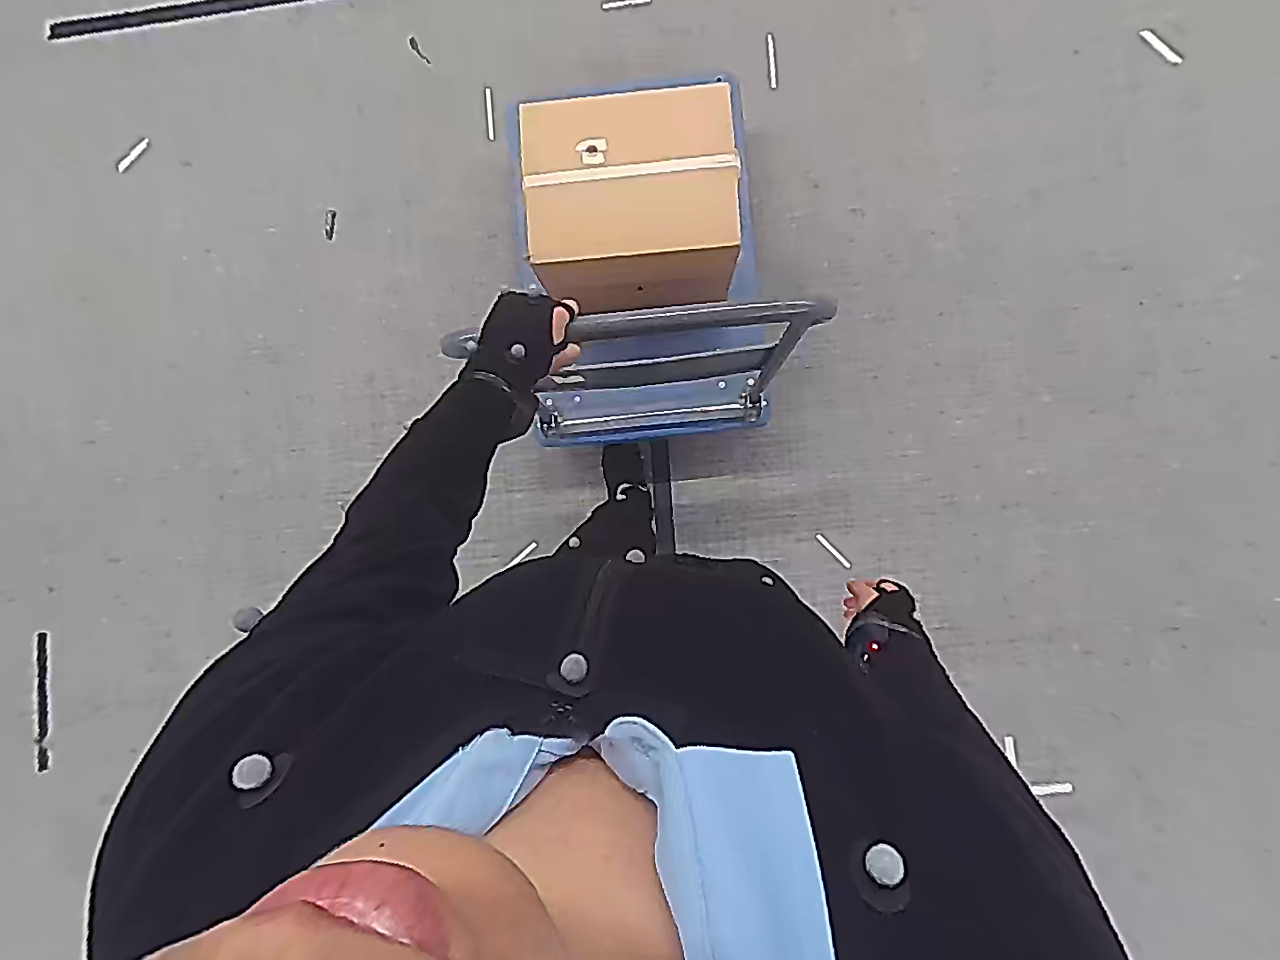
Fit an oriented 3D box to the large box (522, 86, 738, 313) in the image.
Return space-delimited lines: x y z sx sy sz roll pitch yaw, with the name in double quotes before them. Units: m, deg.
"large box" -0.010 -0.578 1.183 0.408 0.320 0.320 -4 87 4
